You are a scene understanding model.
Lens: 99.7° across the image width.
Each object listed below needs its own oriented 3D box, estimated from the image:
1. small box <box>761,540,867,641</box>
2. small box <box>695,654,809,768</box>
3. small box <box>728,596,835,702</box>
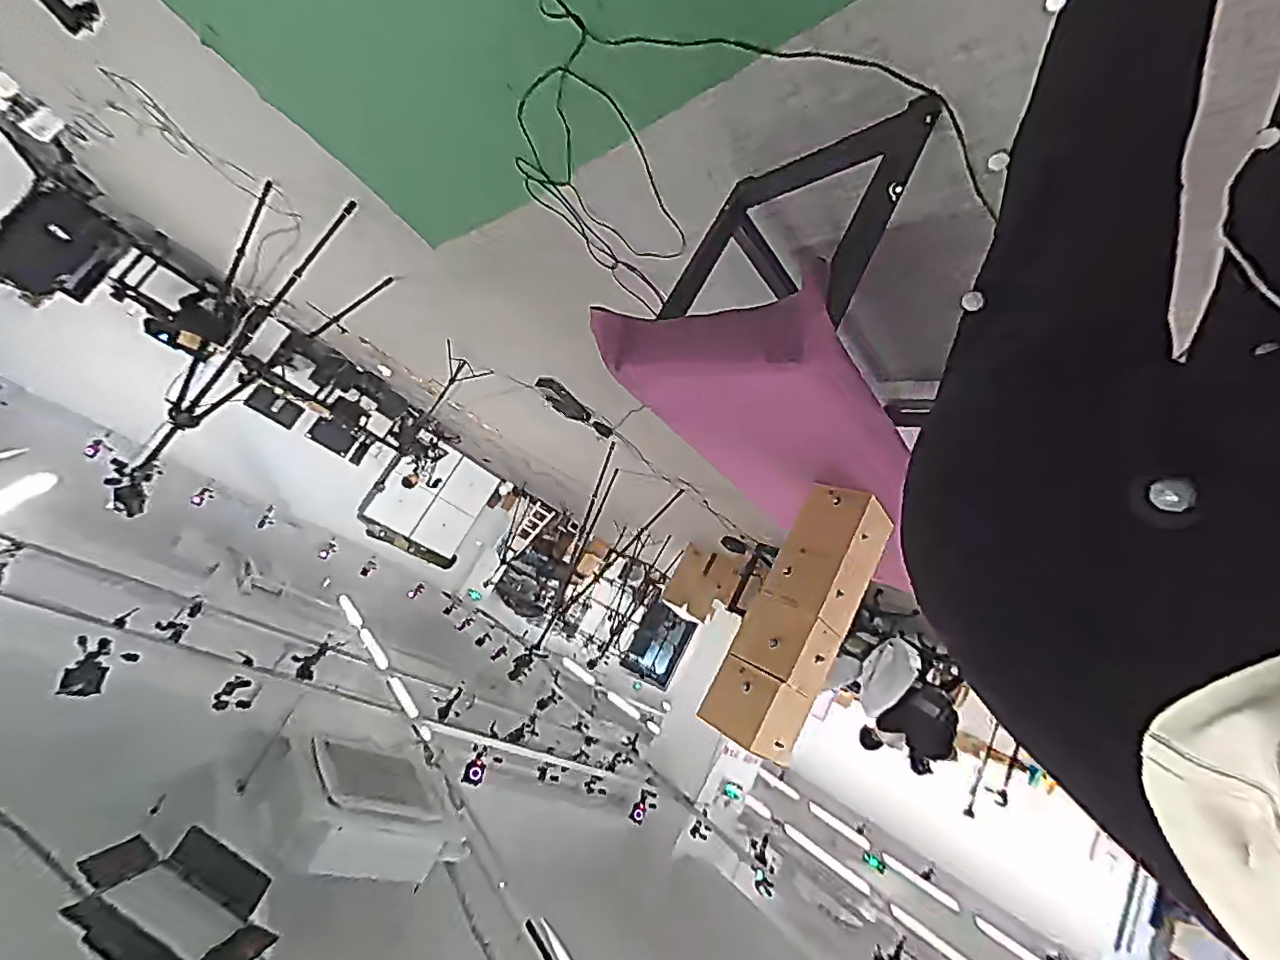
[{"bbox_3d":[0.437,0.270,1.351,0.168,0.176,0.179,15,160,48],"label":"small box"},{"bbox_3d":[0.270,0.543,1.282,0.168,0.176,0.179,15,158,50],"label":"small box"},{"bbox_3d":[0.353,0.405,1.318,0.179,0.176,0.168,15,159,48],"label":"small box"}]
